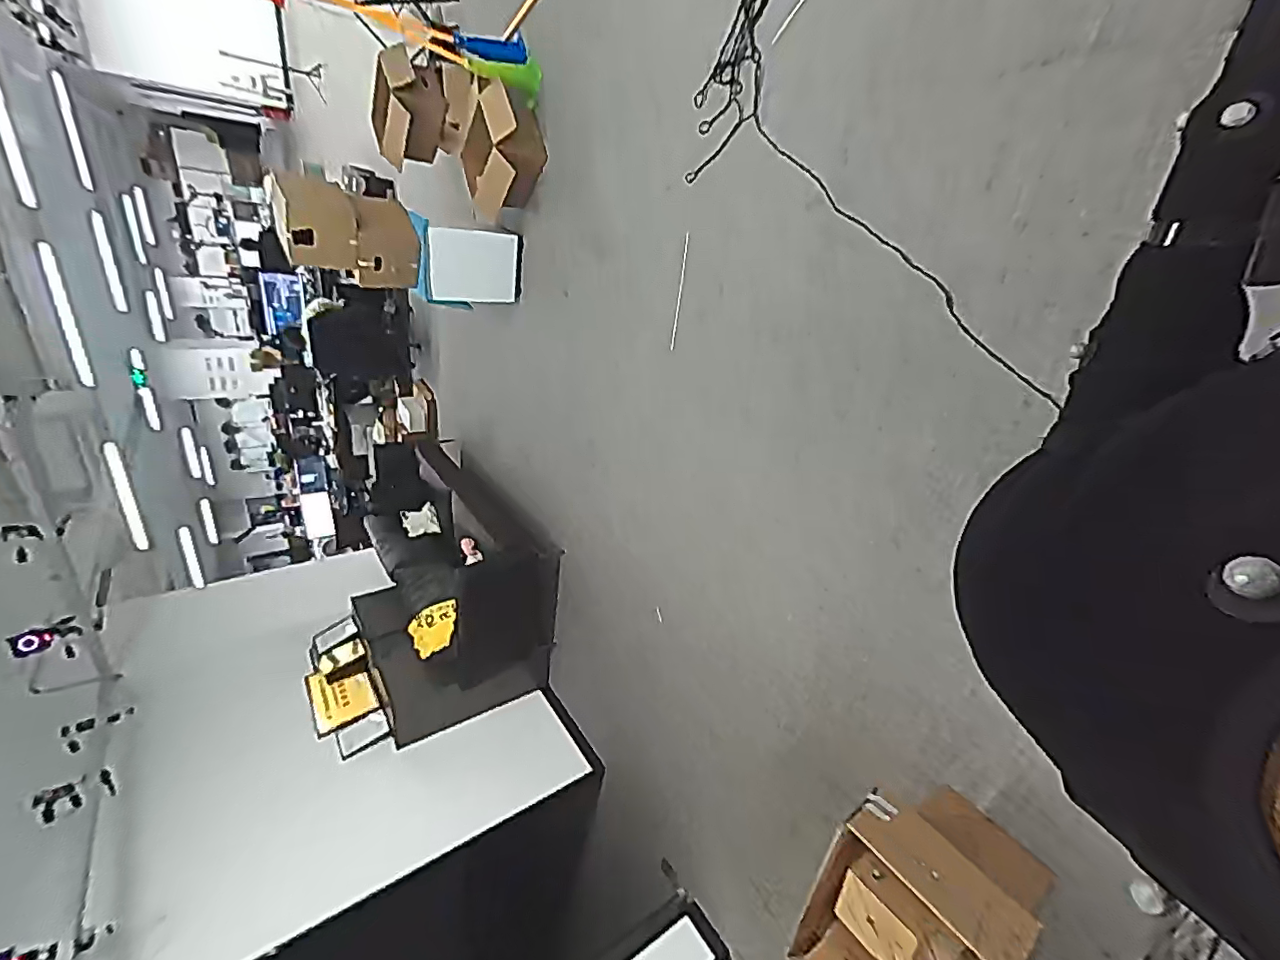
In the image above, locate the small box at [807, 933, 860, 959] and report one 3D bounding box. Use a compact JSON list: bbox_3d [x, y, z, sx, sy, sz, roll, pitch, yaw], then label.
[{"bbox_3d":[0.461,1.235,1.271,0.168,0.176,0.179,28,119,47],"label":"small box"}]
